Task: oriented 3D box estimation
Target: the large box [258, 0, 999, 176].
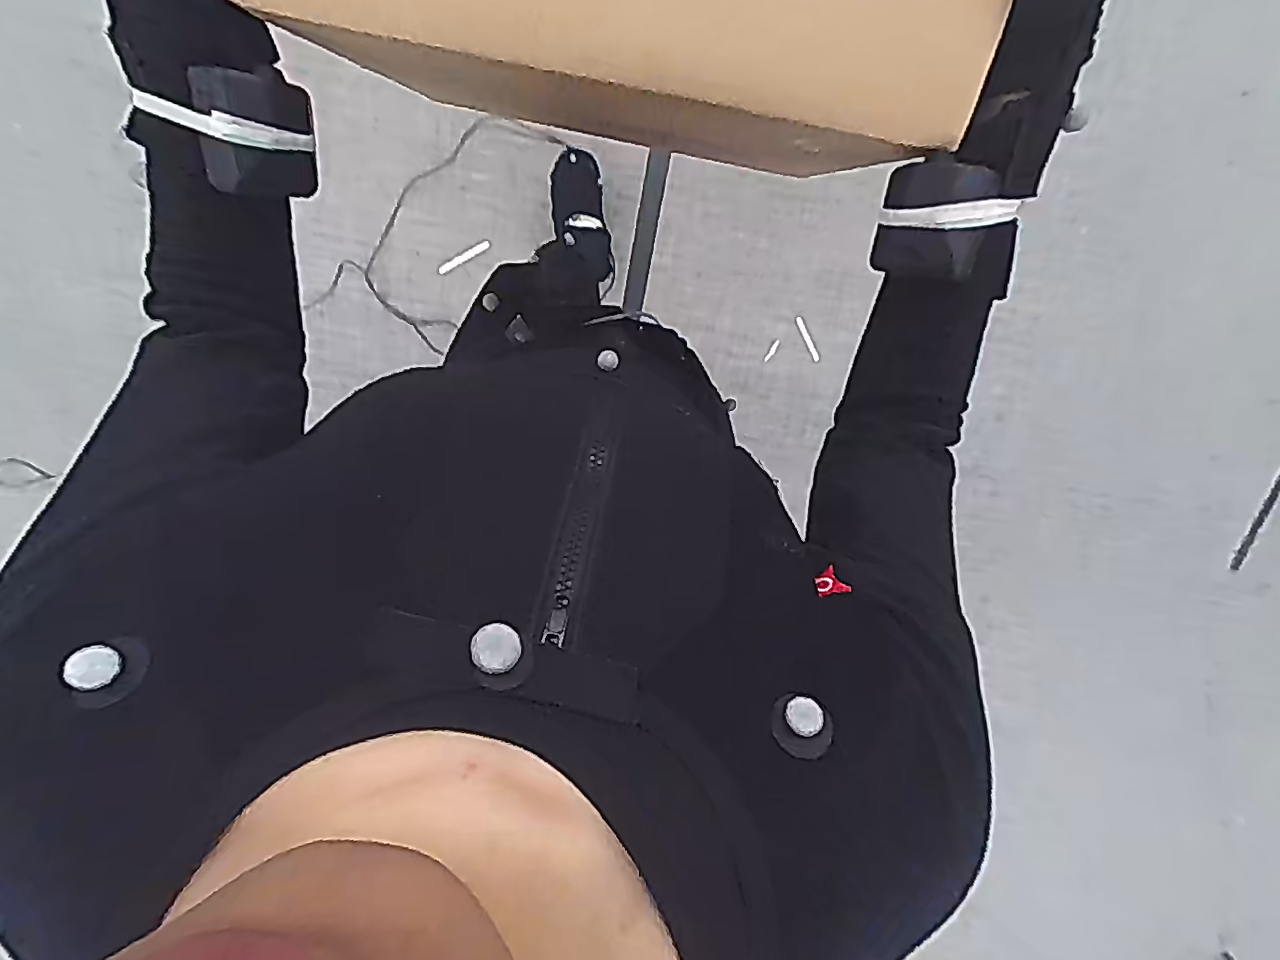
[{"bbox_3d":[0.009,-0.423,0.374,0.408,0.320,0.320,8,117,-4],"label":"large box"}]
